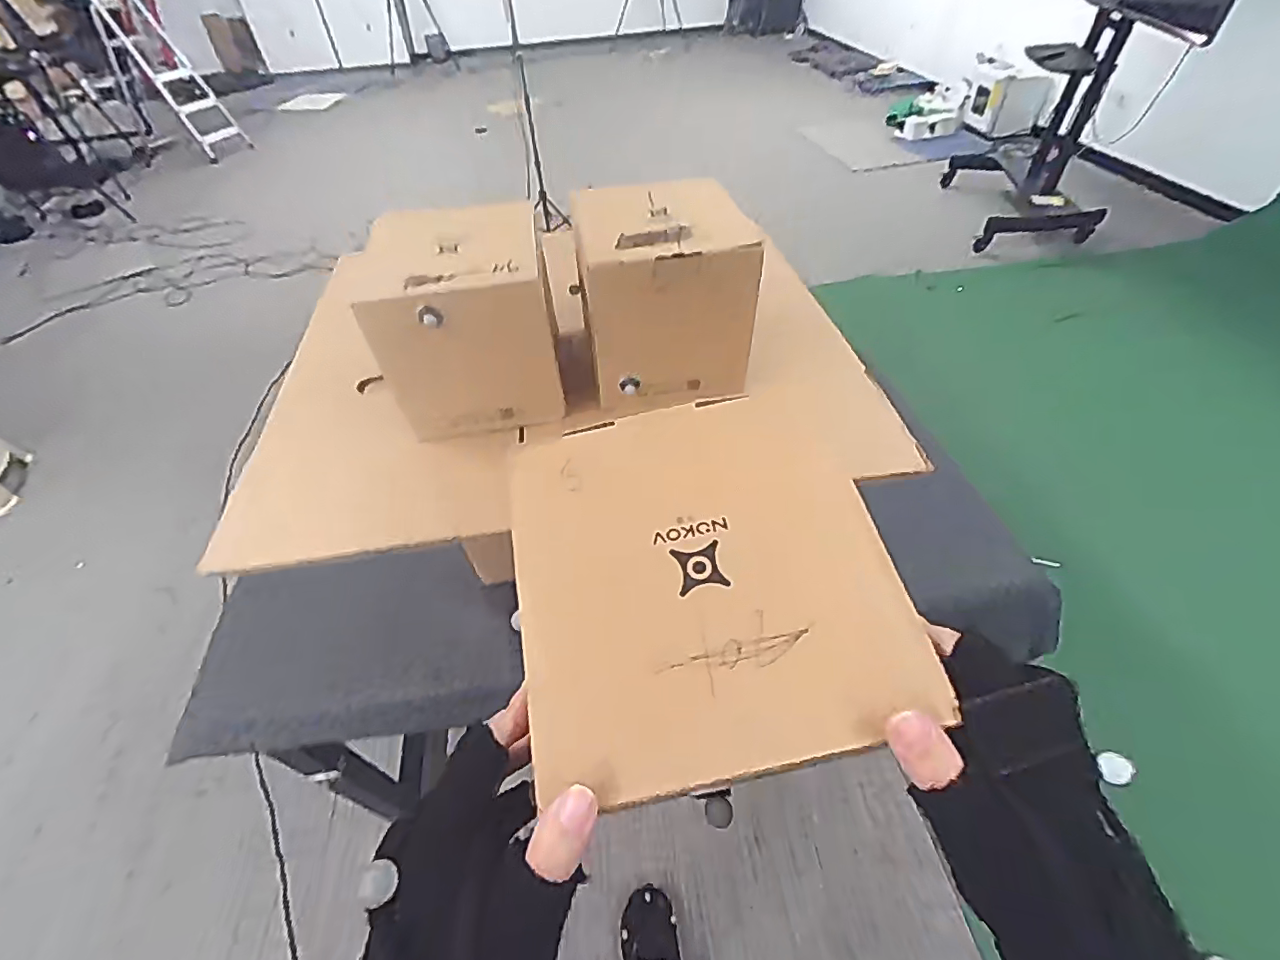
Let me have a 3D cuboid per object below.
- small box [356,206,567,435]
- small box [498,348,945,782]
[{"bbox_3d":[-0.176,-0.174,0.593,0.168,0.176,0.179,-9,47,-2],"label":"small box"},{"bbox_3d":[0.025,0.057,0.309,0.168,0.176,0.179,-11,59,-2],"label":"small box"}]
